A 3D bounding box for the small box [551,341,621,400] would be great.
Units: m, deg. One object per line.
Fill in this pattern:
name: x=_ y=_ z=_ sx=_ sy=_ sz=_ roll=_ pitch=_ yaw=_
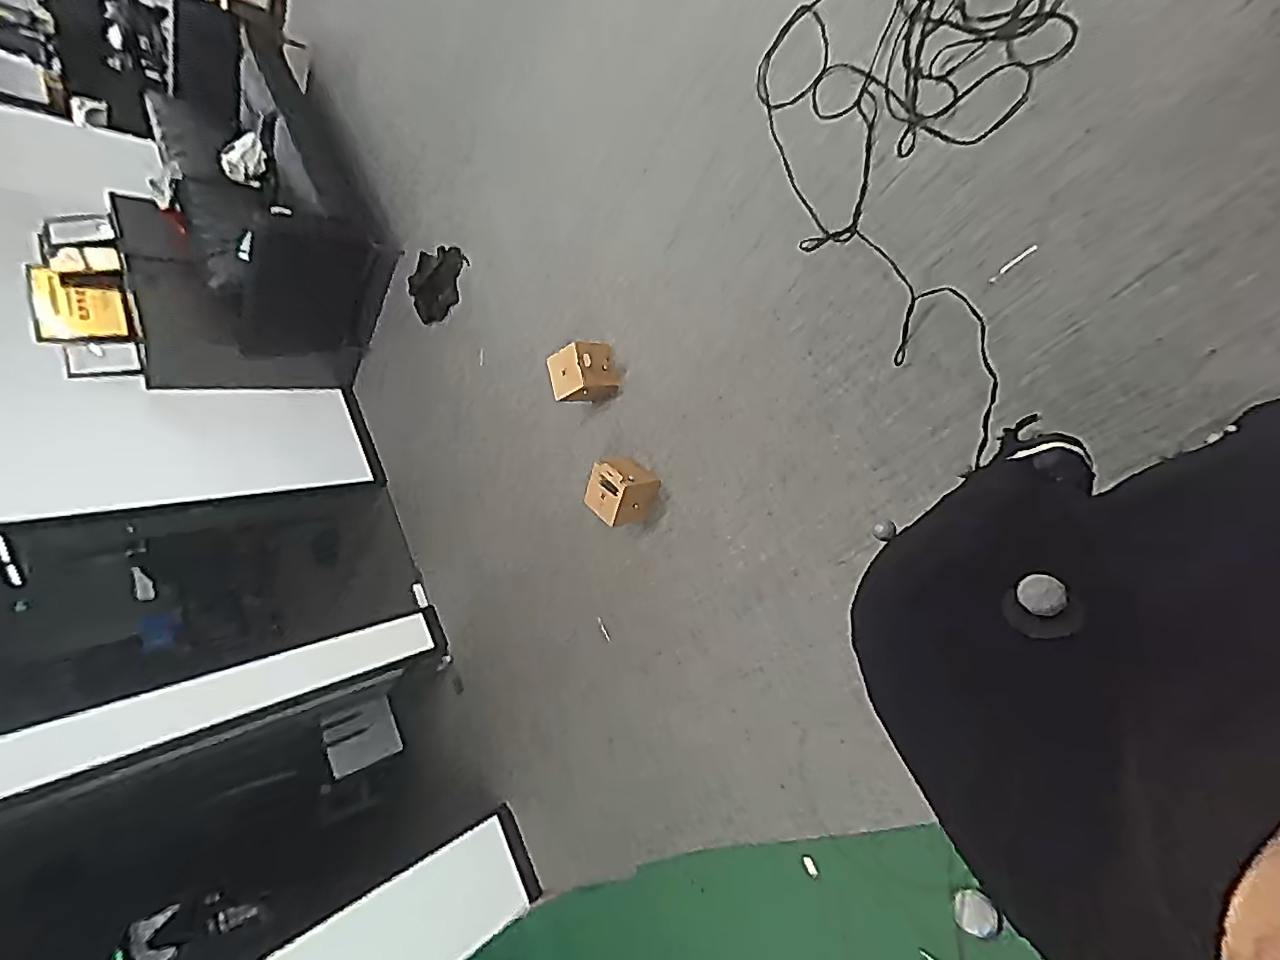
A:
small box: x=-0.198 y=-0.396 z=1.983 sx=0.179 sy=0.176 sz=0.168 roll=-18 pitch=83 yaw=45
